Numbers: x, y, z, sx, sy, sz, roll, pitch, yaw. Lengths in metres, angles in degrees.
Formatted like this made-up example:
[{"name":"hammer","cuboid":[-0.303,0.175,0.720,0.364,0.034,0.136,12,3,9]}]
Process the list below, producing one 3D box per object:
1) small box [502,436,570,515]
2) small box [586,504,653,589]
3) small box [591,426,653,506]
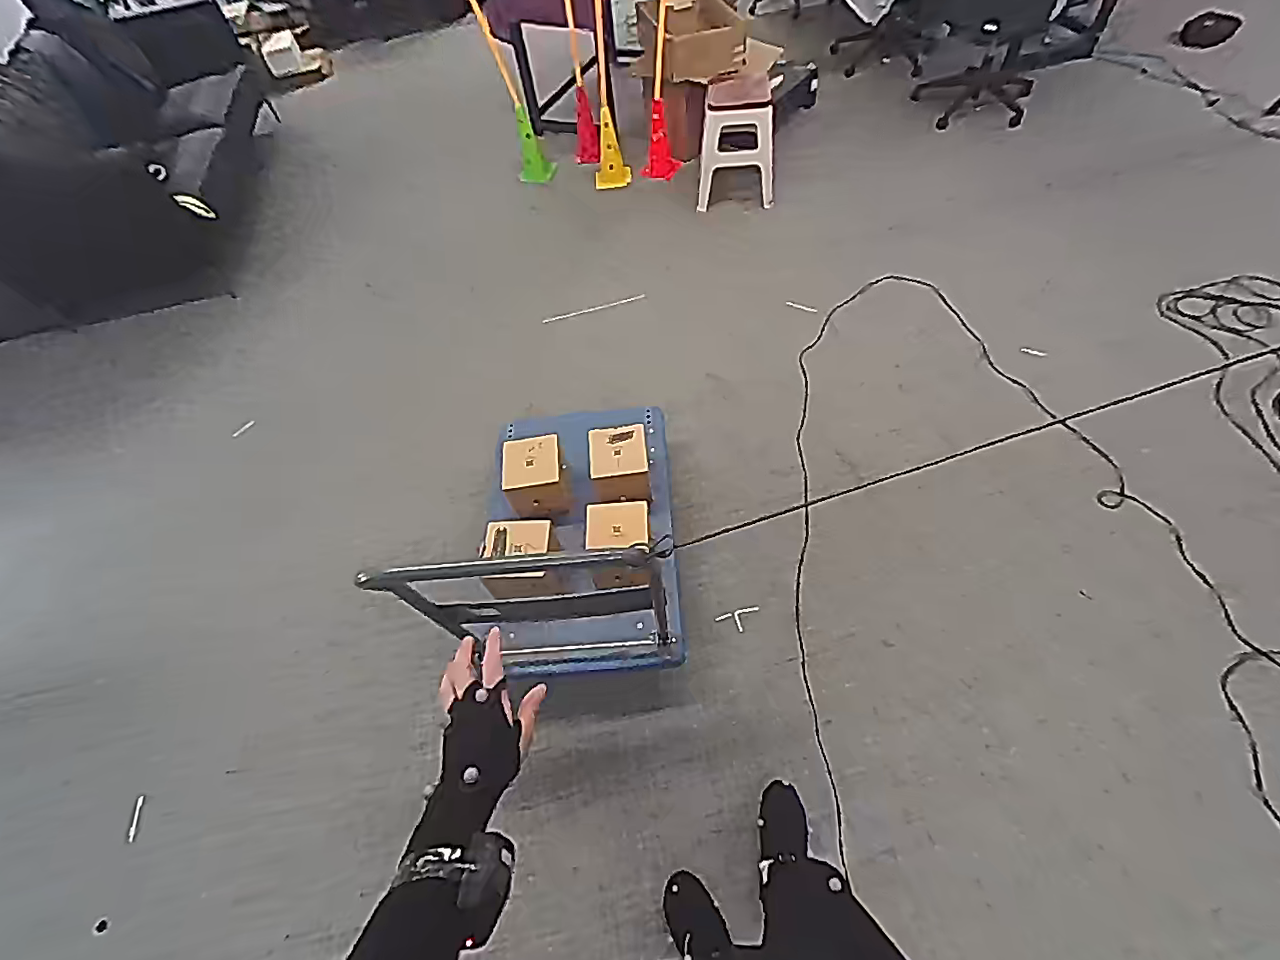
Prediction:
[{"name":"small box","cuboid":[-0.309,-0.006,1.633,0.168,0.176,0.179,-8,56,1]},{"name":"small box","cuboid":[-0.052,0.184,1.481,0.168,0.176,0.179,-4,58,4]},{"name":"small box","cuboid":[-0.053,-0.037,1.623,0.168,0.176,0.179,-7,57,3]}]
